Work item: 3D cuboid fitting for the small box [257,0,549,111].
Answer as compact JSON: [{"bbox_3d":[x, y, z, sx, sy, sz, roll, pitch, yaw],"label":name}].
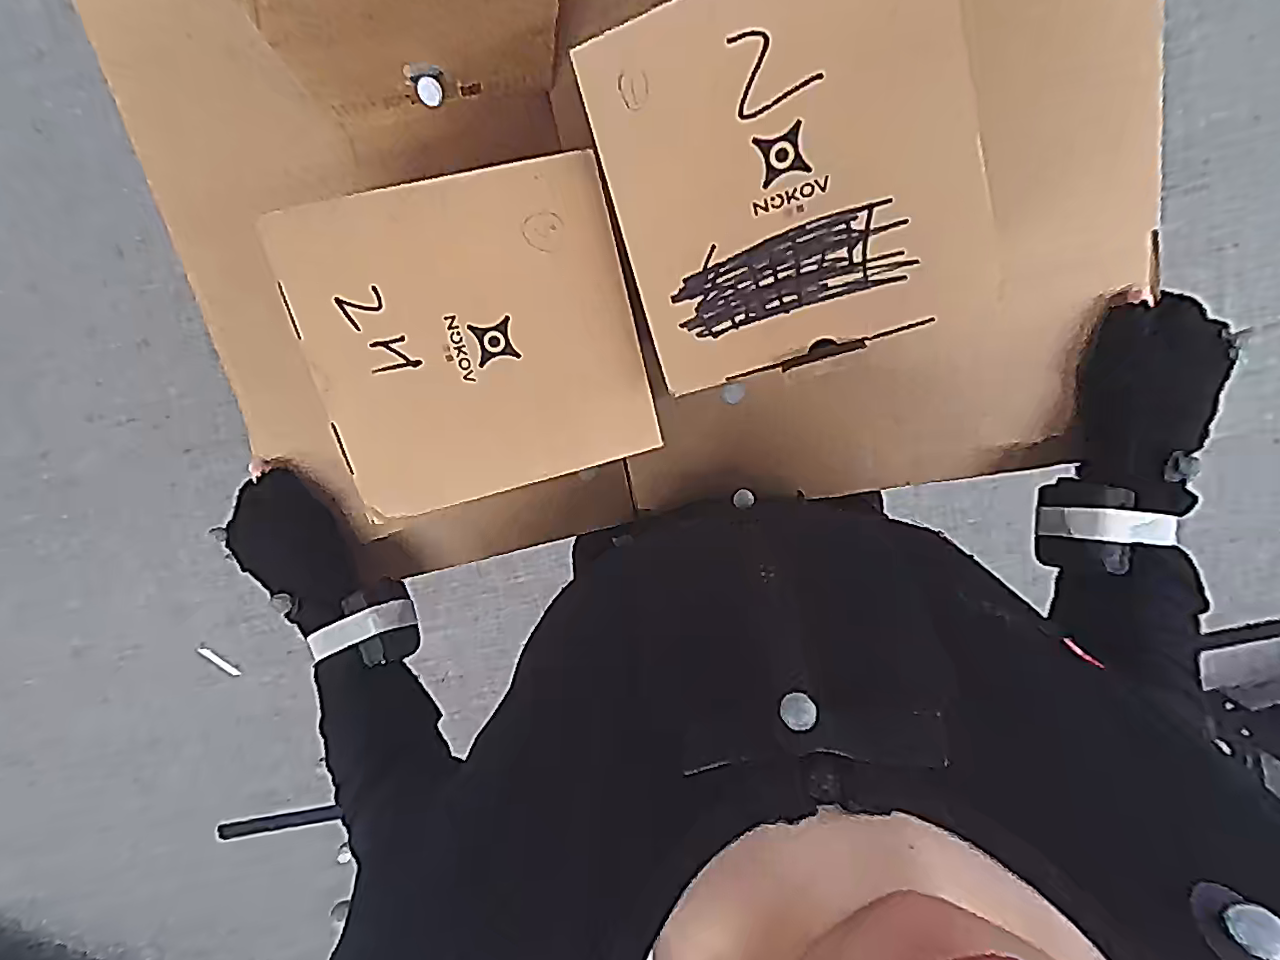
[{"bbox_3d":[-0.152,-0.352,0.307,0.168,0.176,0.179,-14,104,-8],"label":"small box"}]
